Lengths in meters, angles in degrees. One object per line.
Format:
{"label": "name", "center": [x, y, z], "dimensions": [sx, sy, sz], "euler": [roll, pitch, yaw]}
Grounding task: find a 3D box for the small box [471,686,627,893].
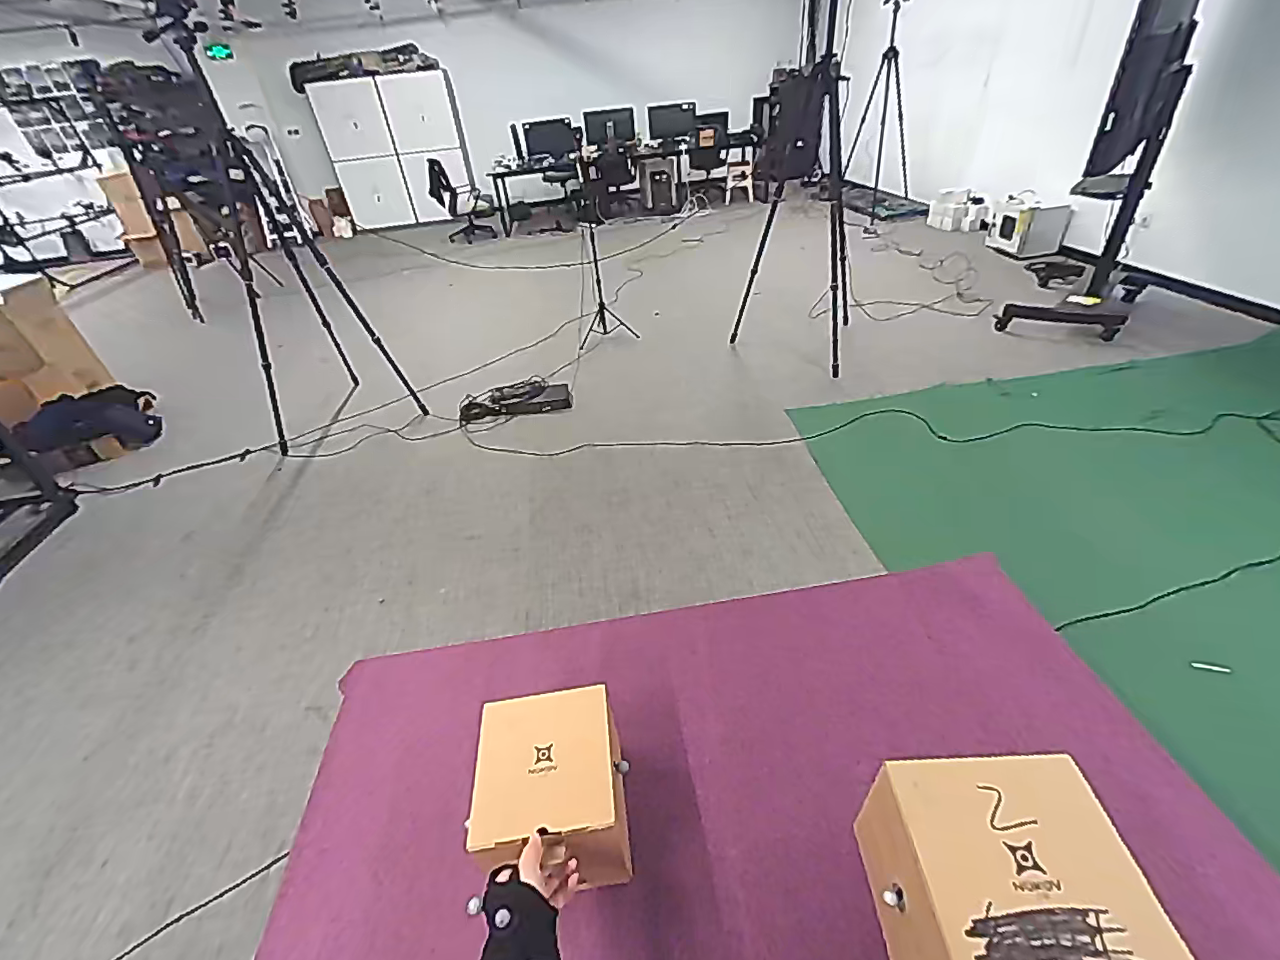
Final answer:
{"label": "small box", "center": [-0.111, 0.407, 0.718], "dimensions": [0.168, 0.176, 0.179], "euler": [-8, 37, -2]}
